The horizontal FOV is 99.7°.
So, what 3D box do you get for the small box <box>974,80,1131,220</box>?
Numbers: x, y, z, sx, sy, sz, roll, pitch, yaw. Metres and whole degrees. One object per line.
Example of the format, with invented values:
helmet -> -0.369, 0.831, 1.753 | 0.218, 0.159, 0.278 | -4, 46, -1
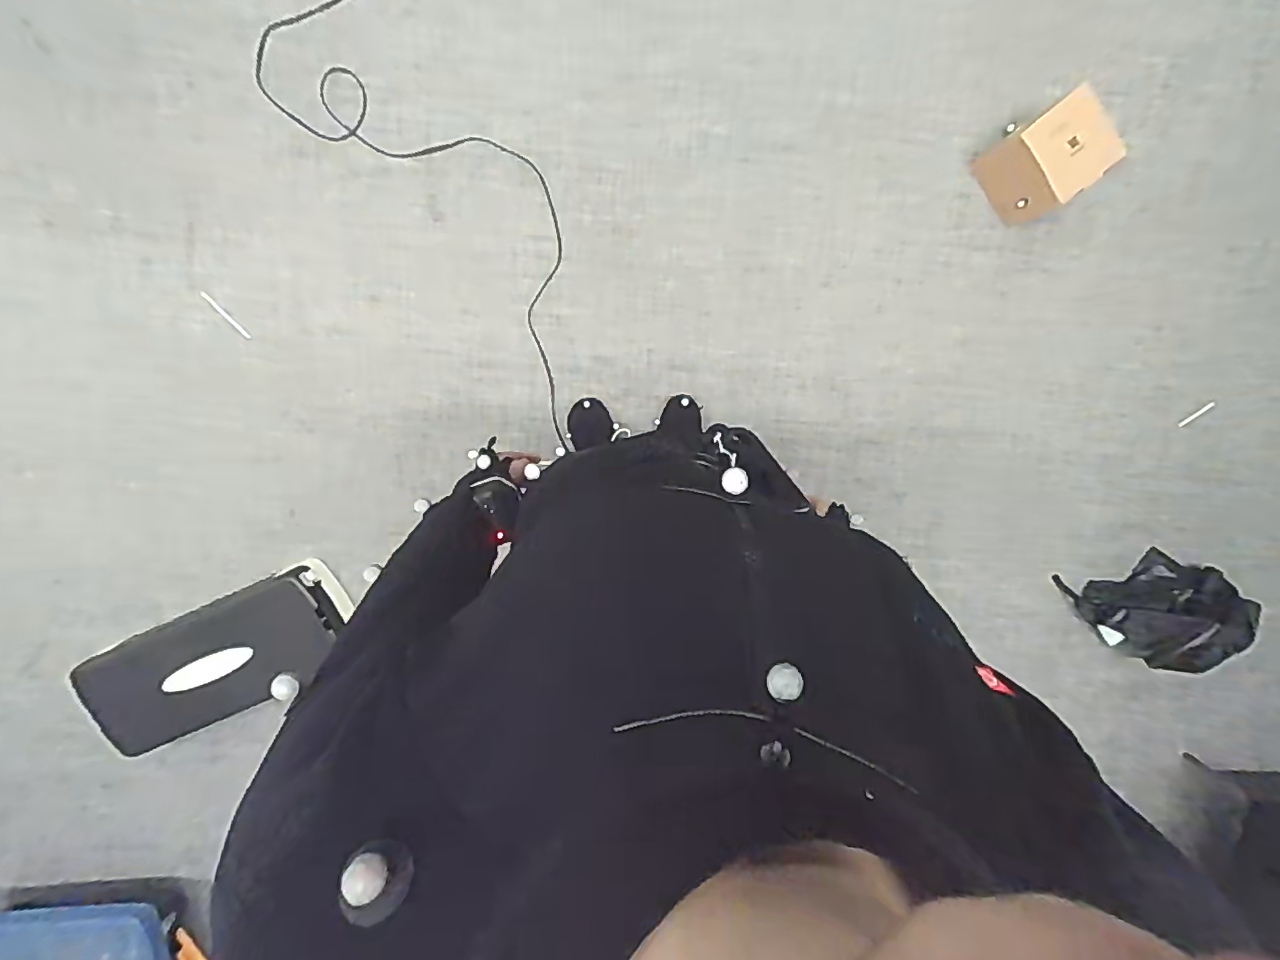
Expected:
small box -> 0.882, -0.695, 1.171 | 0.168, 0.176, 0.179 | -39, 98, 4
